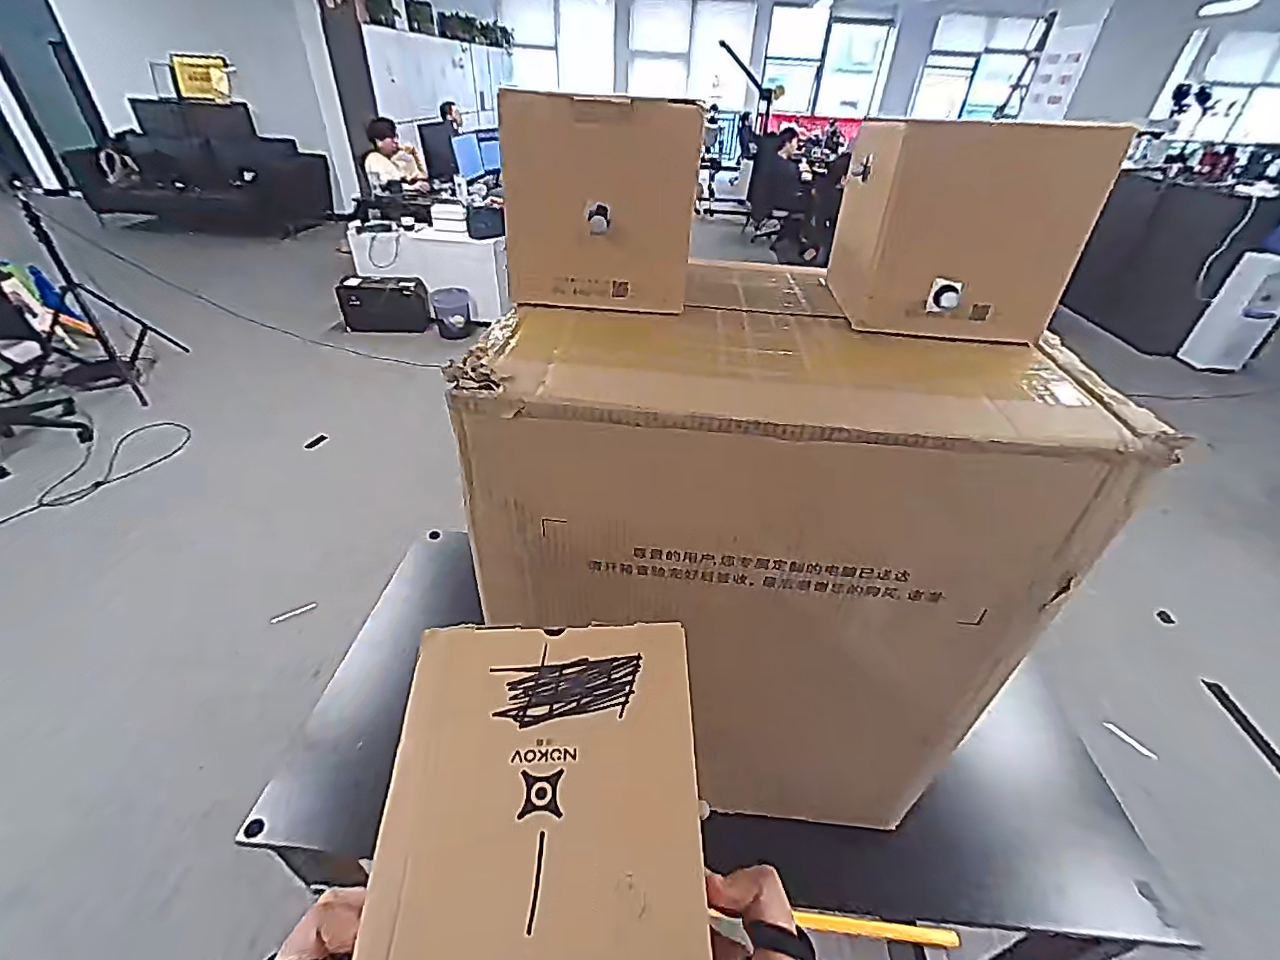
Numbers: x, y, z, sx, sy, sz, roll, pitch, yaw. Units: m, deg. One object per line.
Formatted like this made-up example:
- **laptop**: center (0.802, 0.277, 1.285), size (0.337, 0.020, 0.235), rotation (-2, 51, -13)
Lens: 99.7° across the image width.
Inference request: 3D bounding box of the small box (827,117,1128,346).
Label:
- **small box**: center (0.289, -0.243, 0.520), size (0.168, 0.176, 0.179), rotation (4, 35, 5)

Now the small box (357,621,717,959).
- **small box**: center (-0.050, 0.211, 0.357), size (0.168, 0.176, 0.179), rotation (-1, 49, -2)

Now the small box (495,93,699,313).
- **small box**: center (-0.036, -0.275, 0.537), size (0.168, 0.176, 0.179), rotation (3, 36, -2)
